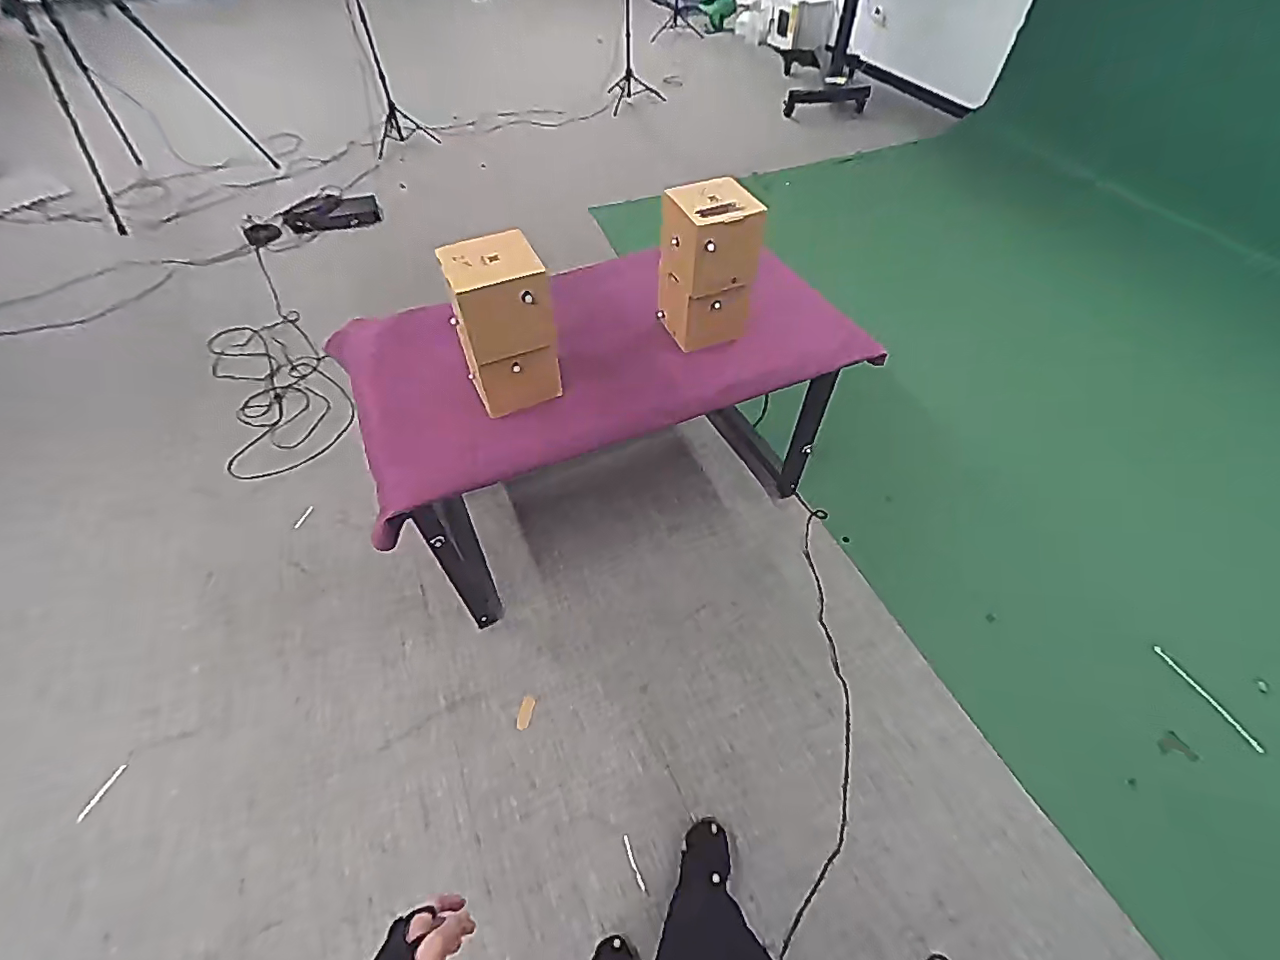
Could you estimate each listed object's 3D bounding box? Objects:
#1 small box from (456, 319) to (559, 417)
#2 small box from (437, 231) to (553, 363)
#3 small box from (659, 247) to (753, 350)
[{"bbox_3d":[-0.291,-0.273,1.220,0.179,0.176,0.168,-22,56,-15],"label":"small box"},{"bbox_3d":[-0.281,-0.363,1.081,0.179,0.176,0.168,-21,56,-15],"label":"small box"},{"bbox_3d":[0.157,-0.449,1.351,0.179,0.176,0.168,-18,55,-14],"label":"small box"}]
